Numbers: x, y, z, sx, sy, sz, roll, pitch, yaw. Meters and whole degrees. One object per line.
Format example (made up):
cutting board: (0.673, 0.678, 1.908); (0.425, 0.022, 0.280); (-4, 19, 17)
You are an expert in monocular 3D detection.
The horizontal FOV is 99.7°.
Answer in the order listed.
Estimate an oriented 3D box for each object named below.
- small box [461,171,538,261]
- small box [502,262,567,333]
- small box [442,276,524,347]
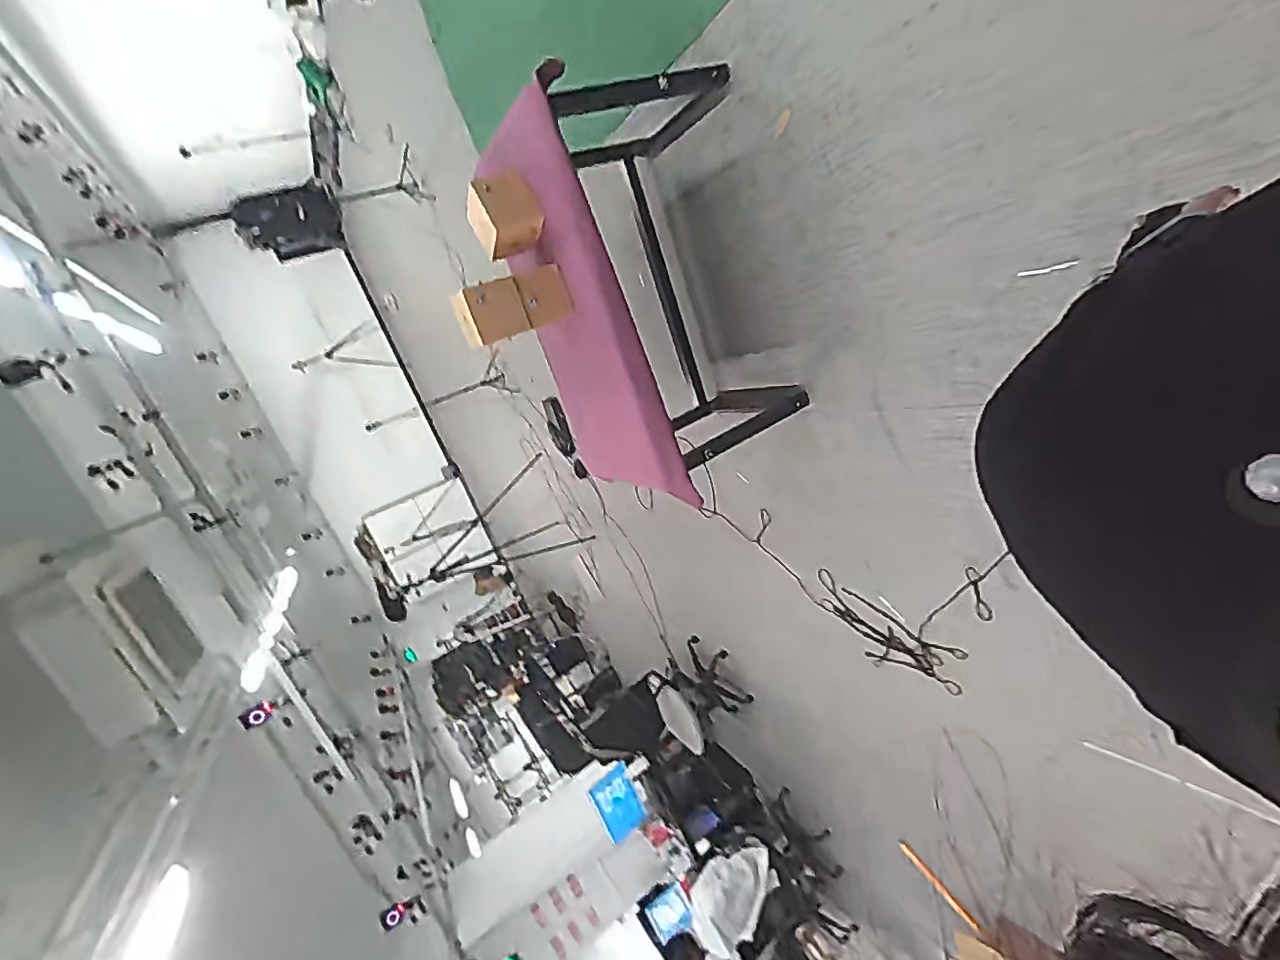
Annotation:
small box: (-0.439, -0.827, 1.689); (0.179, 0.176, 0.168); (61, 156, 1)
small box: (-0.361, -0.596, 1.777); (0.168, 0.176, 0.179); (16, 129, 56)
small box: (-0.490, -0.529, 1.698); (0.168, 0.176, 0.179); (17, 131, 56)
